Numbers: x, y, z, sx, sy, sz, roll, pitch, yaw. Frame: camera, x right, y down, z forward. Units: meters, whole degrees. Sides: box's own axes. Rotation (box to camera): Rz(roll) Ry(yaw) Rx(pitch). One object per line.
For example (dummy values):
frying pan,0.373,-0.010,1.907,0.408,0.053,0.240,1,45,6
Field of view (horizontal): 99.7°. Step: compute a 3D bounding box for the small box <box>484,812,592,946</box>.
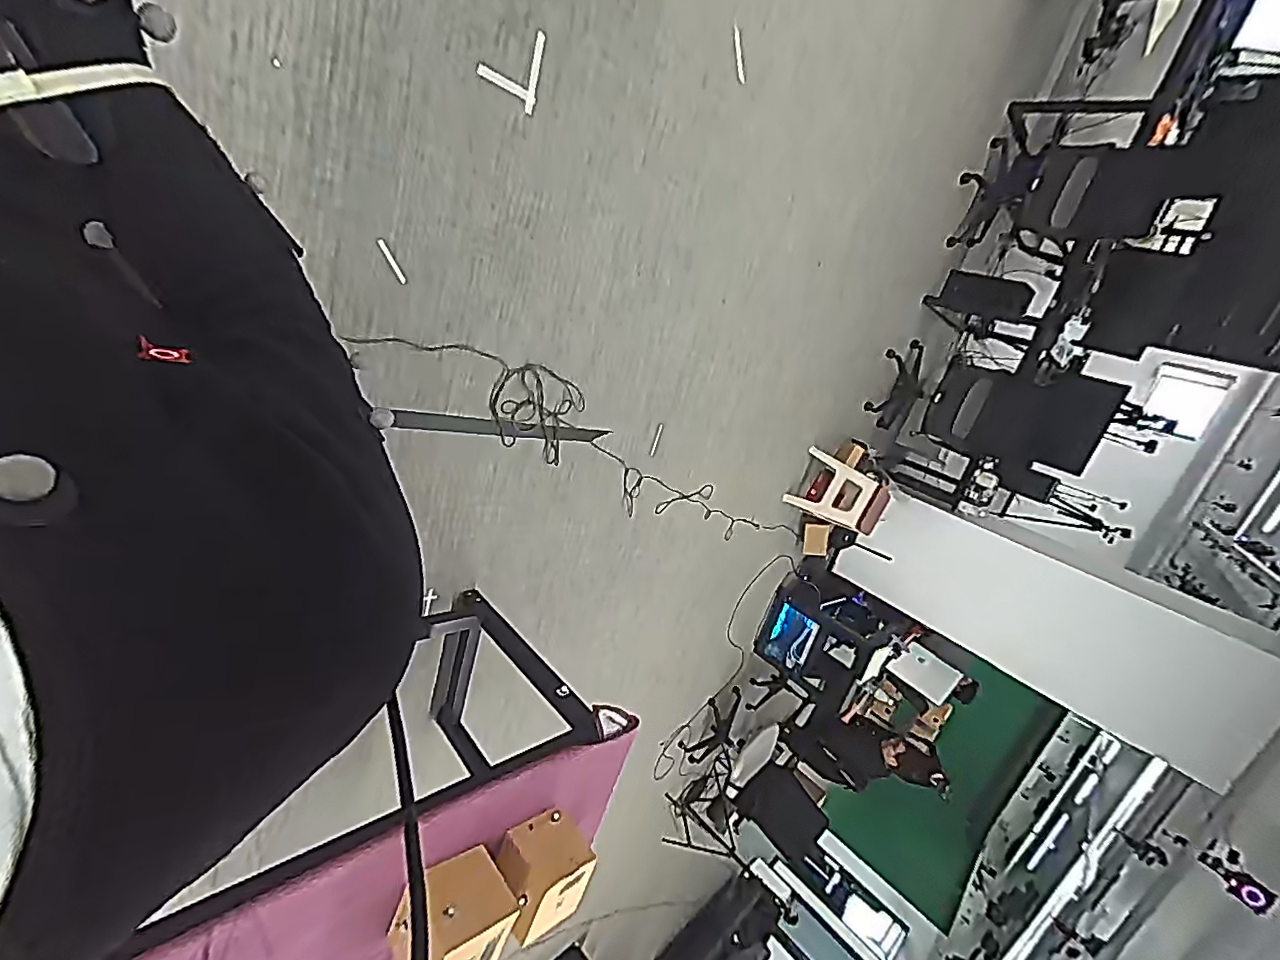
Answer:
small box,-0.251,0.944,1.306,0.168,0.176,0.179,8,108,-50
